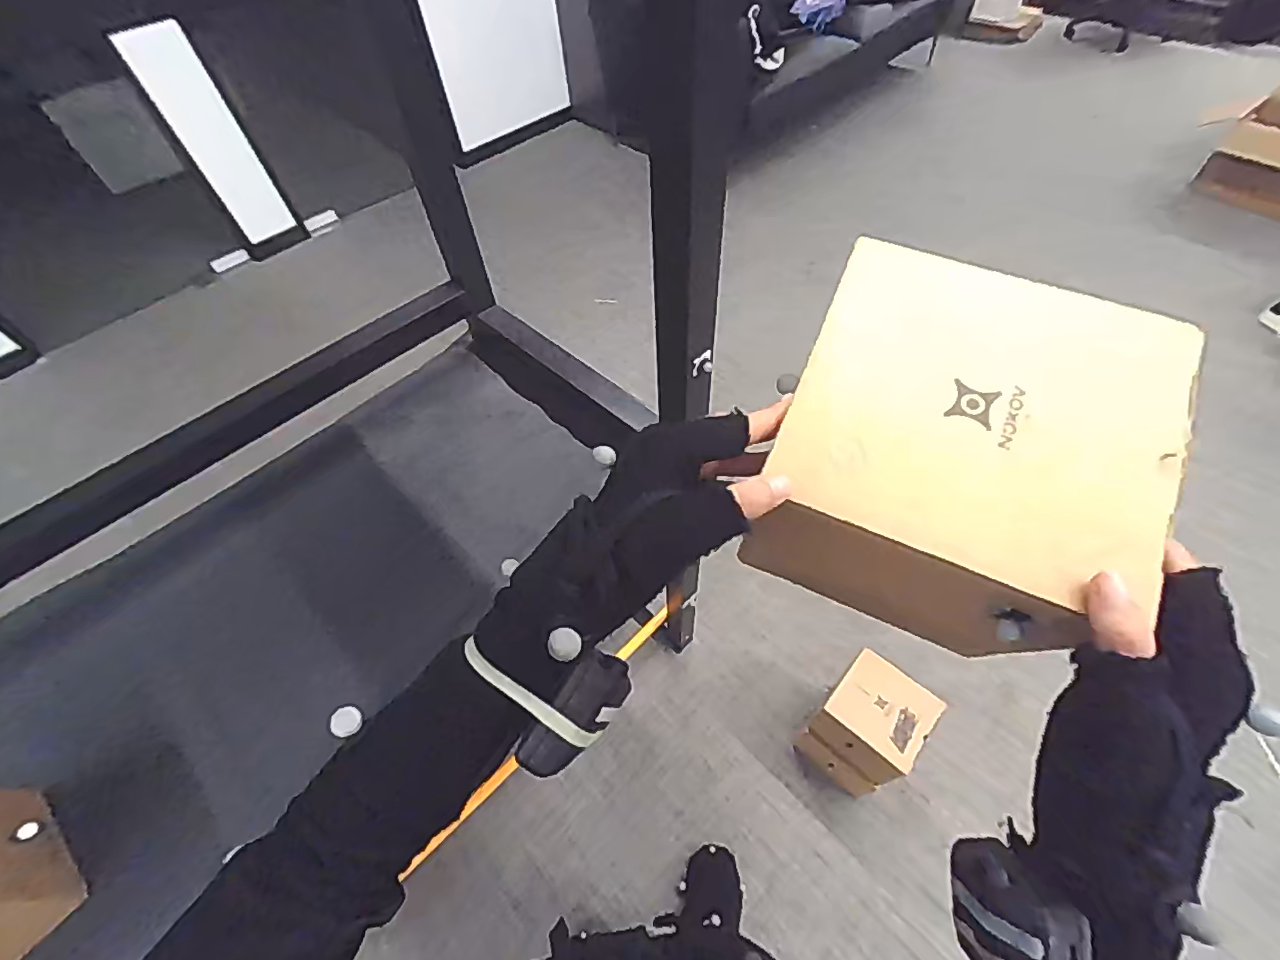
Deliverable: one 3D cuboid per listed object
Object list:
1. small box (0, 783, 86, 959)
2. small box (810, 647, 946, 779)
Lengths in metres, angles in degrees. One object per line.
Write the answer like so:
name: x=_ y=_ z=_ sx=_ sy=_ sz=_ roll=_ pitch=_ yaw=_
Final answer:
small box: x=-0.733 y=0.429 z=0.535 sx=0.168 sy=0.176 sz=0.179 roll=33 pitch=63 yaw=23
small box: x=0.476 y=0.481 z=1.104 sx=0.179 sy=0.176 sz=0.168 roll=36 pitch=65 yaw=26
